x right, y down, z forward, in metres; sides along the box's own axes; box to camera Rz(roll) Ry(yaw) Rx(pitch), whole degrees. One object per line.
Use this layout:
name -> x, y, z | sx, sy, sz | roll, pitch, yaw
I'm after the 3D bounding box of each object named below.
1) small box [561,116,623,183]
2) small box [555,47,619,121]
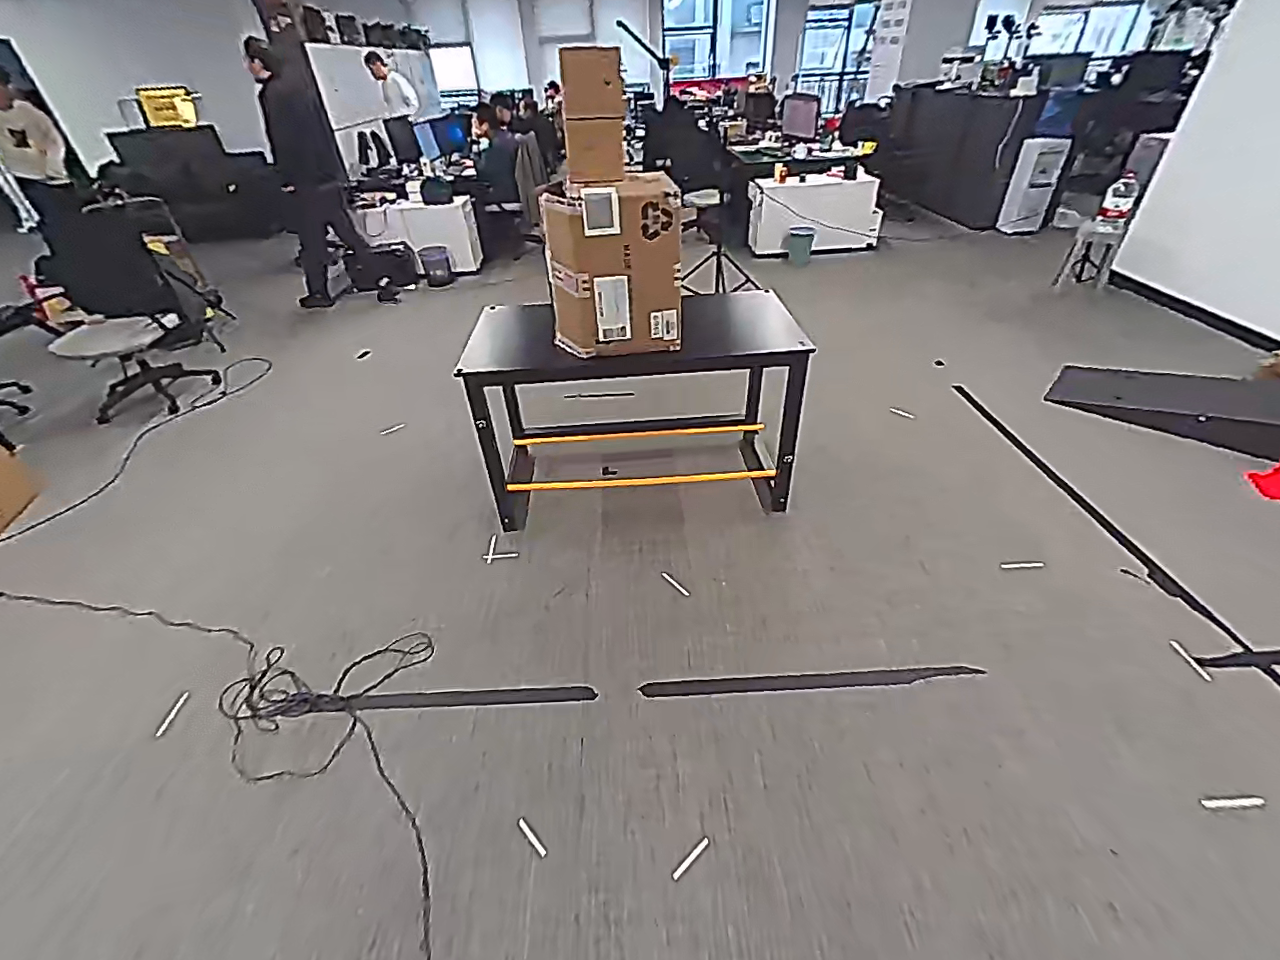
small box -> -0.153, -1.048, 1.712 | 0.179, 0.176, 0.168 | -6, 36, -4
small box -> -0.156, -1.178, 1.614 | 0.179, 0.176, 0.168 | -7, 35, -6
